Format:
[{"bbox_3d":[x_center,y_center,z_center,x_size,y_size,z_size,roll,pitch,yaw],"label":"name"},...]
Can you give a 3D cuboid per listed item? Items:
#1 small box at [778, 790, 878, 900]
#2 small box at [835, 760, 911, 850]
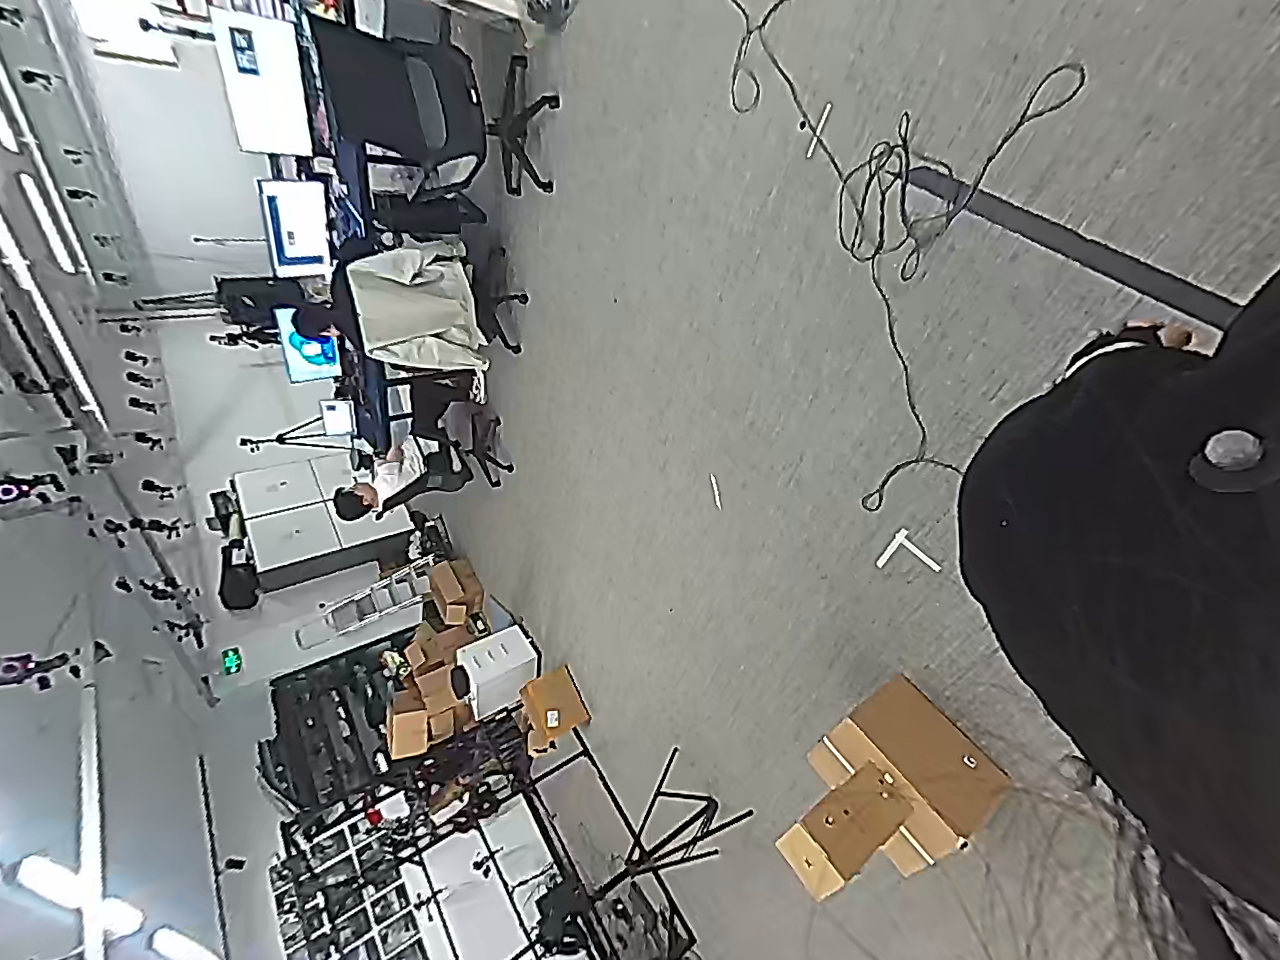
[{"bbox_3d":[0.518,0.991,1.480,0.168,0.176,0.179,47,139,35],"label":"small box"},{"bbox_3d":[0.649,0.961,1.572,0.168,0.176,0.179,47,138,33],"label":"small box"}]
